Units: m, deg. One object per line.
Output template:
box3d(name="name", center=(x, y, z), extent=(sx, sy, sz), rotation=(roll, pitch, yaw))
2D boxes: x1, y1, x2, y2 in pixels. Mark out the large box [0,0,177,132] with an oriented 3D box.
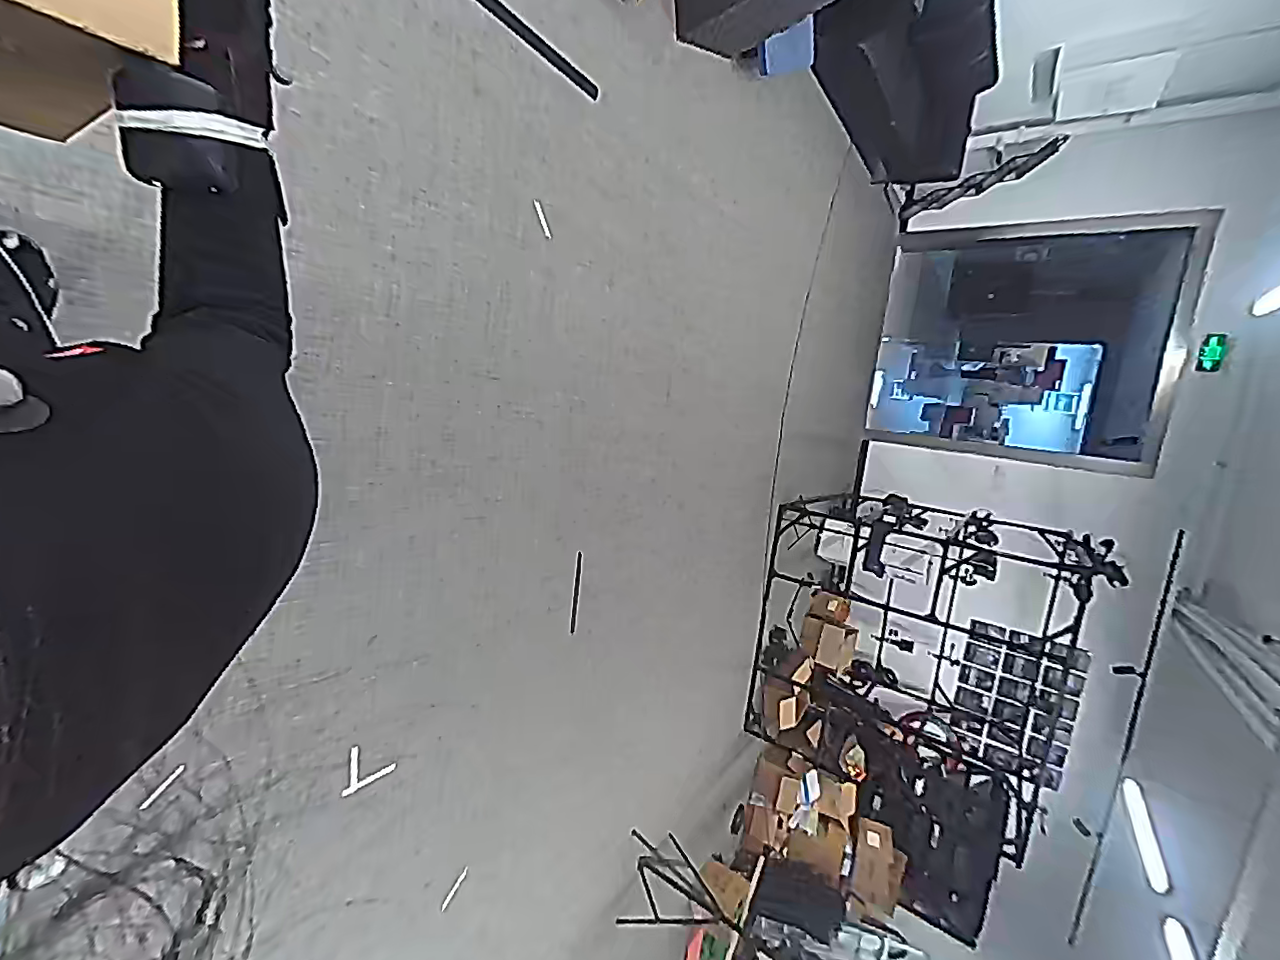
box3d(name="large box", center=(-0.514, -0.416, 0.231), extent=(0.408, 0.320, 0.320), rotation=(-10, 111, -55))
